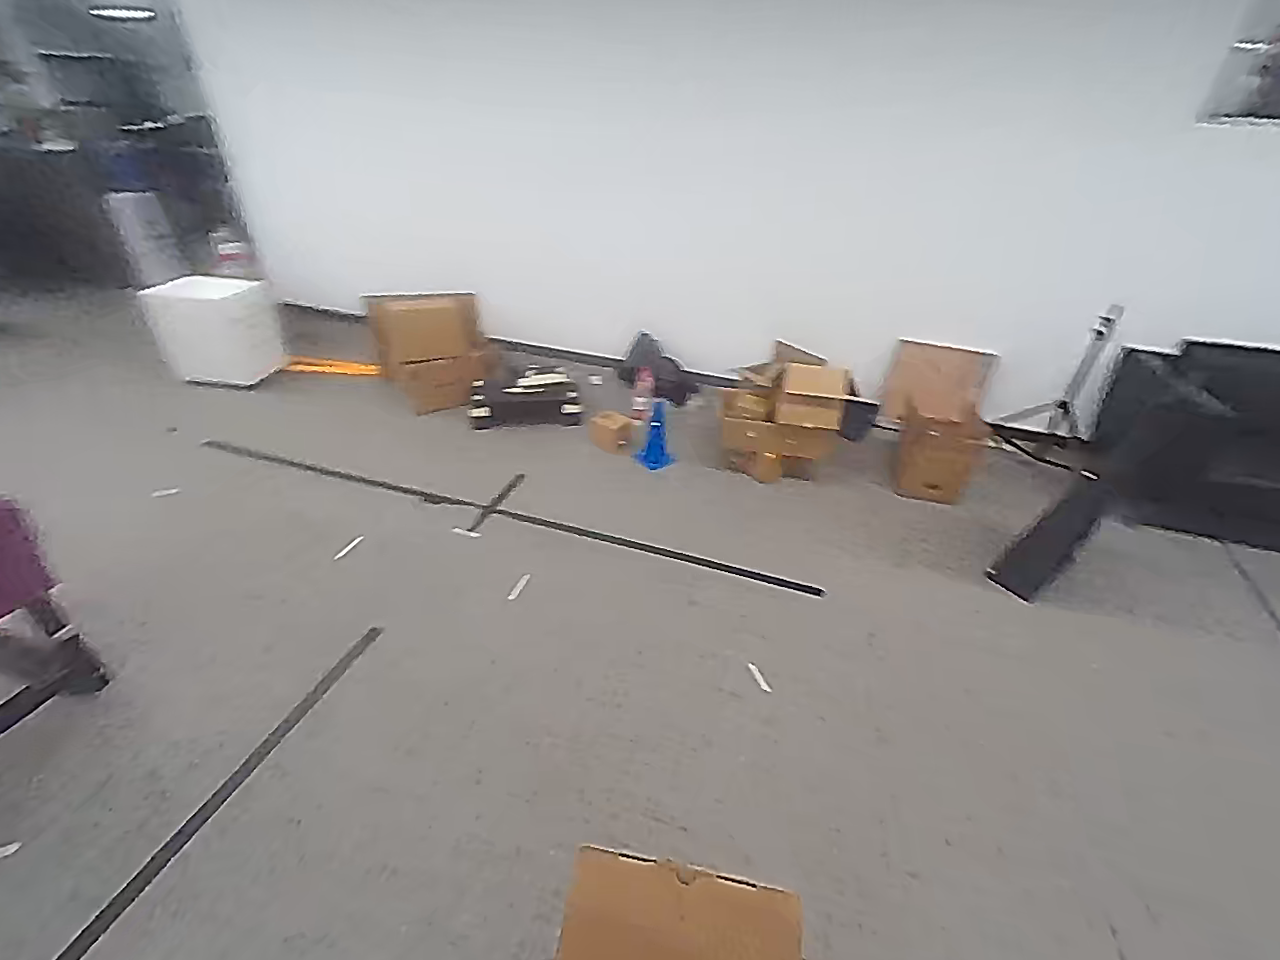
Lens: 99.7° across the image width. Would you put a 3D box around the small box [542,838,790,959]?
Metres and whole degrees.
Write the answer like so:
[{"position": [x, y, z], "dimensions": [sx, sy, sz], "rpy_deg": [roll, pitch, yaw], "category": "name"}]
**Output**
[{"position": [0.018, 0.397, 0.404], "dimensions": [0.168, 0.176, 0.179], "rpy_deg": [5, 50, 10], "category": "small box"}]
